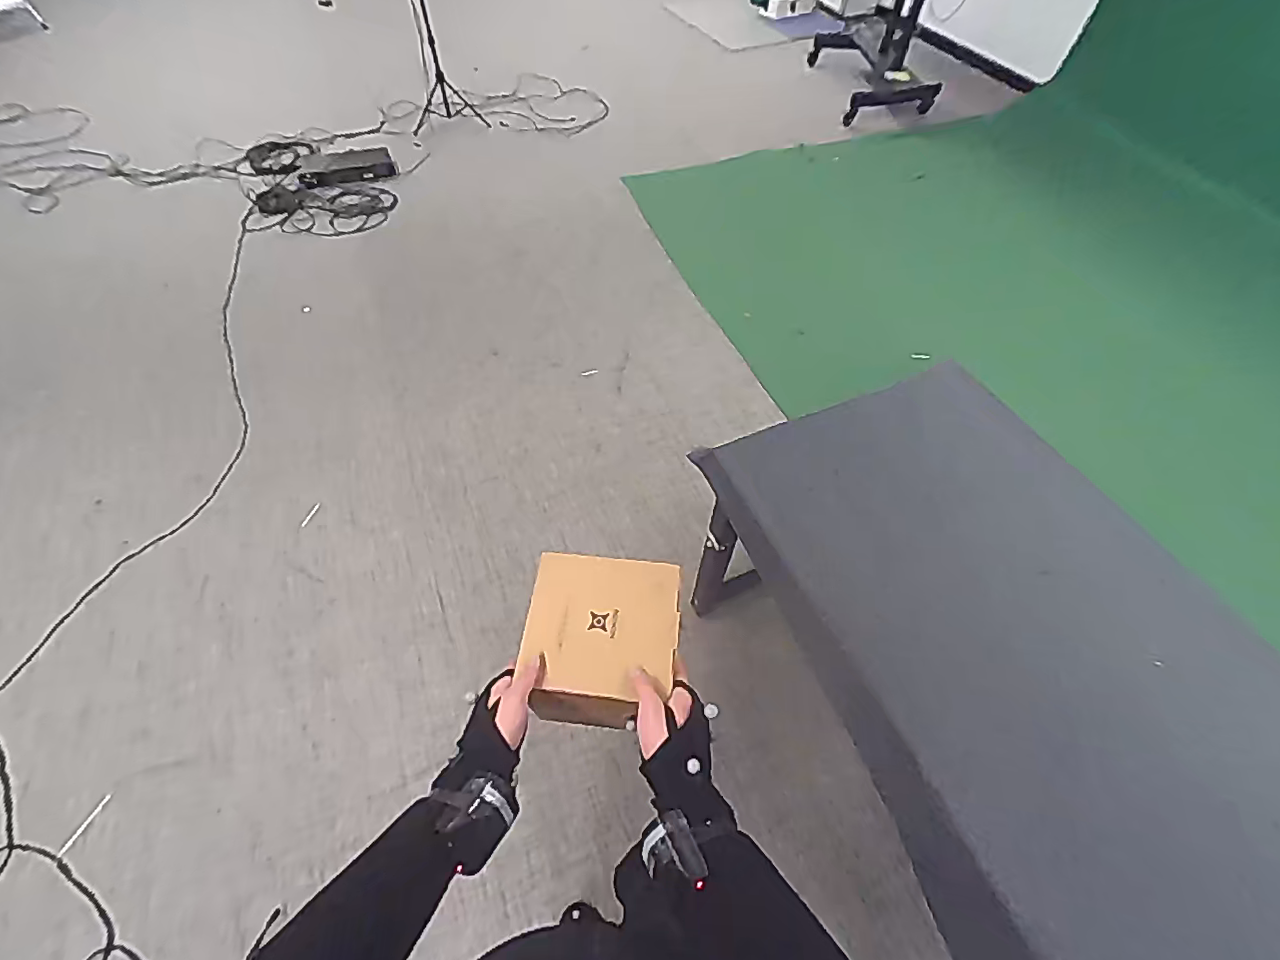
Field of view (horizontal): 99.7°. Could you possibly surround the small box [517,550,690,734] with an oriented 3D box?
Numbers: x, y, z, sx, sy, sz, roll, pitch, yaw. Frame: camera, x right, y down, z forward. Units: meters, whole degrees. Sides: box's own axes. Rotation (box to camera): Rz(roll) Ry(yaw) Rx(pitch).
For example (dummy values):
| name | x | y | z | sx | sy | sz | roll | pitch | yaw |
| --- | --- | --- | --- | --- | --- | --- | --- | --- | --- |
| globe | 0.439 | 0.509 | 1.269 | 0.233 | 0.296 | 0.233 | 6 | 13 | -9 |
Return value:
| name | x | y | z | sx | sy | sz | roll | pitch | yaw |
| --- | --- | --- | --- | --- | --- | --- | --- | --- | --- |
| small box | -0.036 | 0.204 | 0.666 | 0.179 | 0.176 | 0.168 | 4 | 53 | 2 |
